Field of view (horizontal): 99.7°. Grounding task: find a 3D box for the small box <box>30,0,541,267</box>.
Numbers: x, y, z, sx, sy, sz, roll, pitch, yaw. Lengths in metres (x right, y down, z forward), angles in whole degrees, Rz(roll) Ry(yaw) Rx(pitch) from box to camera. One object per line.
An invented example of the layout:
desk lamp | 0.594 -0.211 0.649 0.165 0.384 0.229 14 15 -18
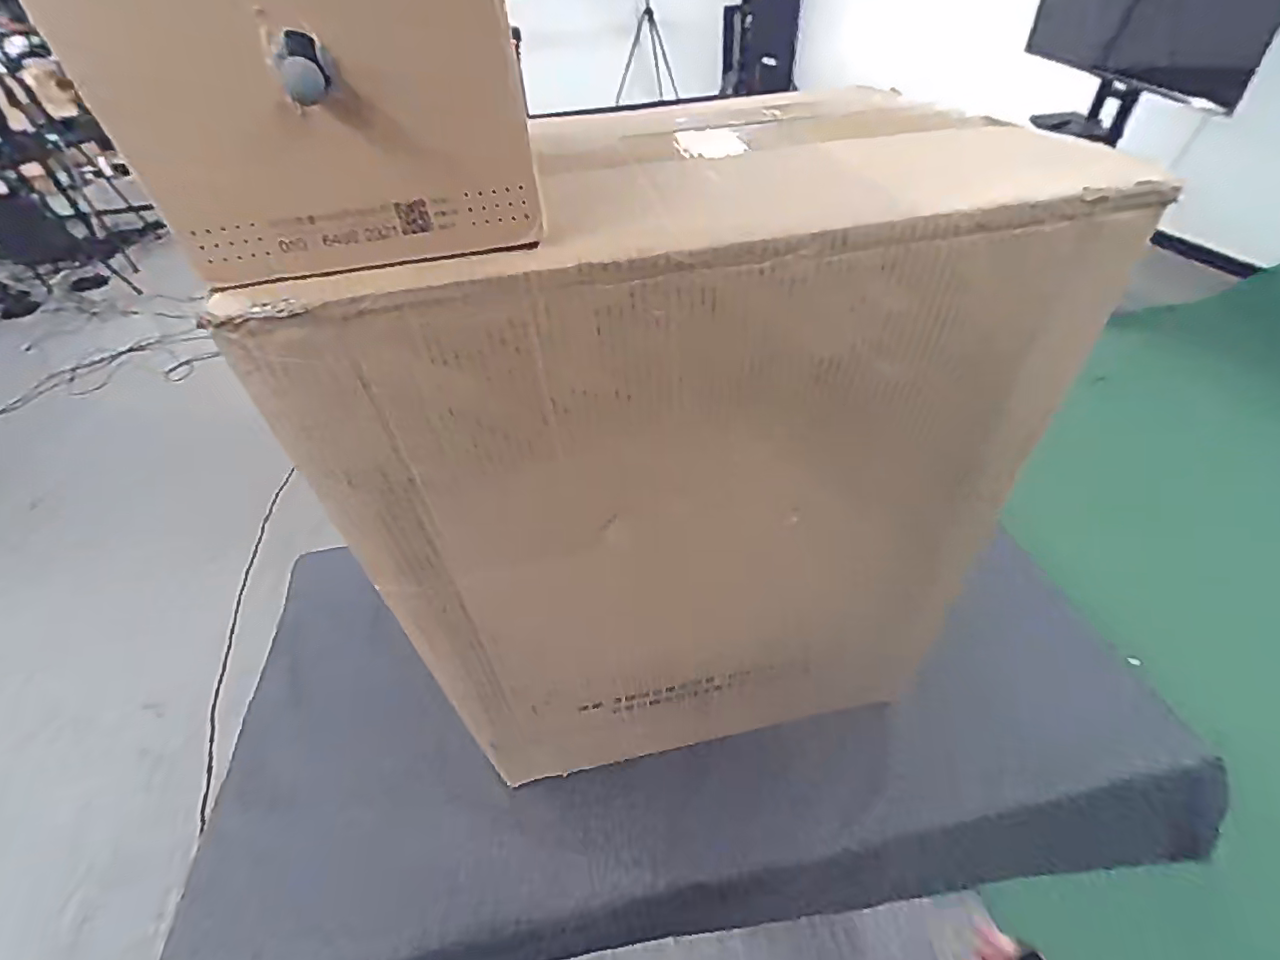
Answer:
small box | -0.148 -0.220 0.271 0.168 0.176 0.179 -10 45 -5
